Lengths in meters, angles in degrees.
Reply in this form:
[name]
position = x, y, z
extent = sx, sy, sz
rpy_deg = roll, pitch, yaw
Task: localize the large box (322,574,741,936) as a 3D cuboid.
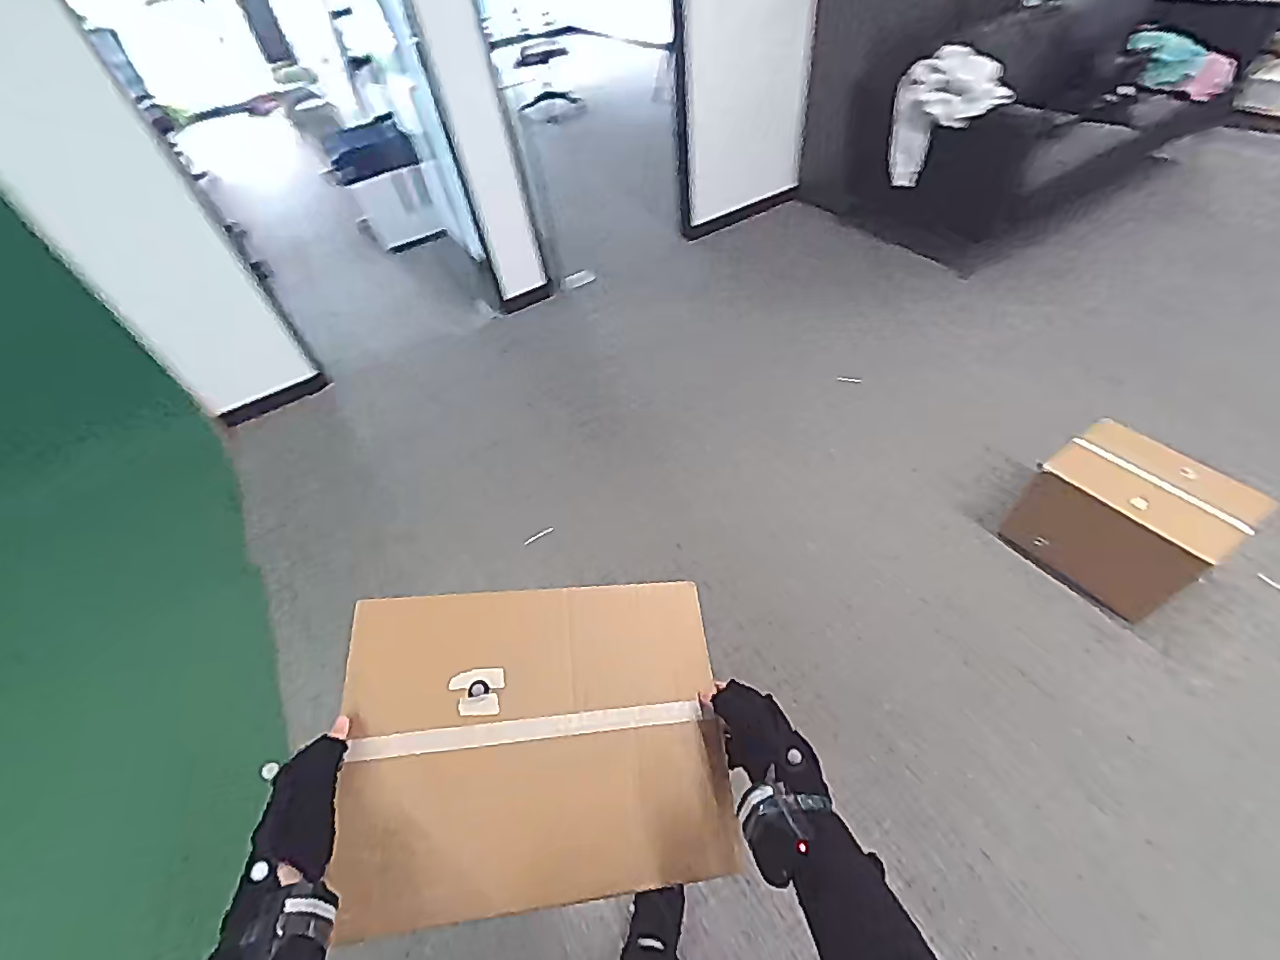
[large box]
position = -0.128, 0.330, 0.713
extent = 0.408, 0.320, 0.320
rpy_deg = -1, 61, -11
